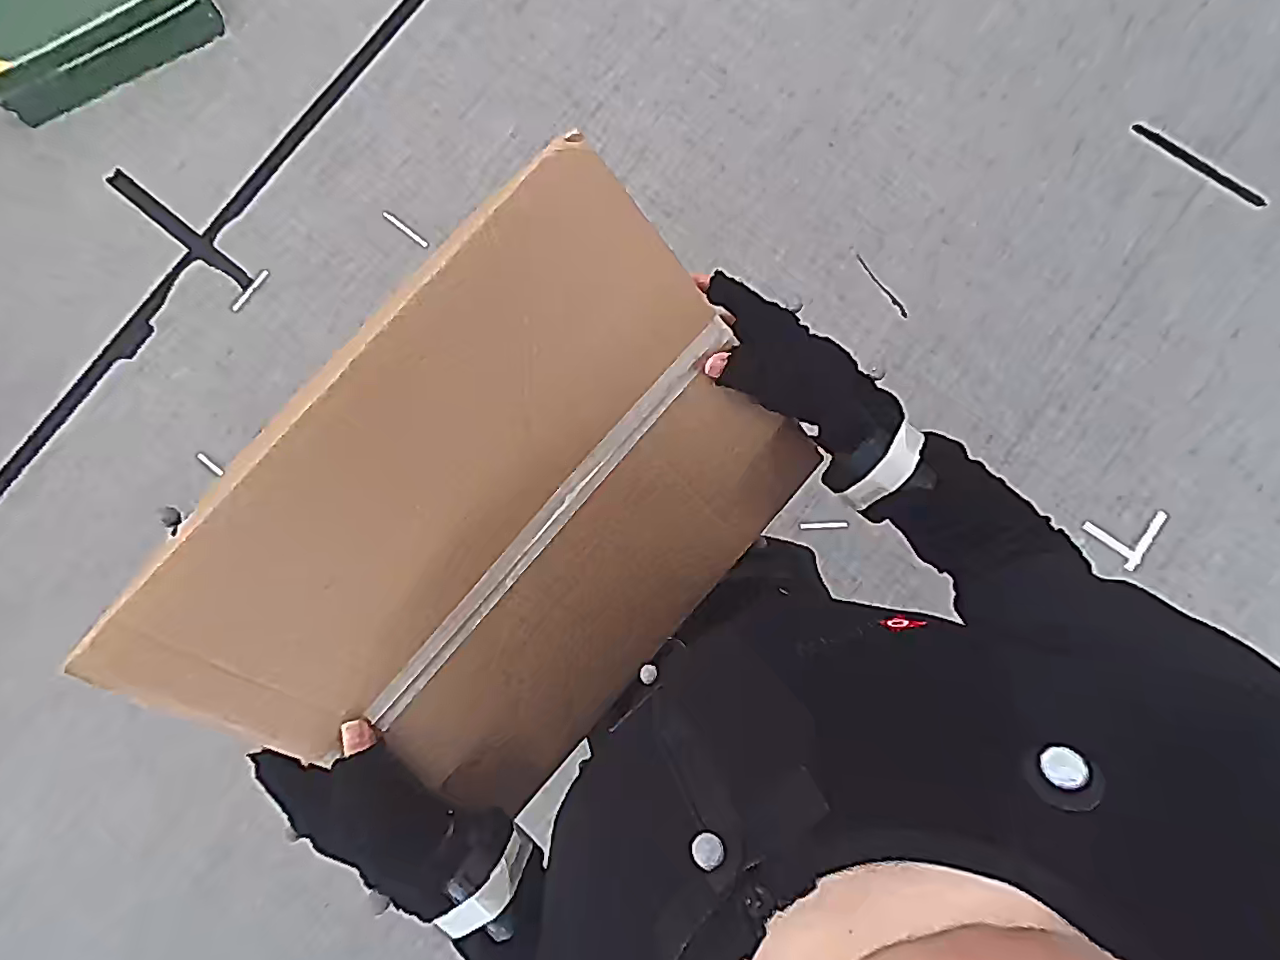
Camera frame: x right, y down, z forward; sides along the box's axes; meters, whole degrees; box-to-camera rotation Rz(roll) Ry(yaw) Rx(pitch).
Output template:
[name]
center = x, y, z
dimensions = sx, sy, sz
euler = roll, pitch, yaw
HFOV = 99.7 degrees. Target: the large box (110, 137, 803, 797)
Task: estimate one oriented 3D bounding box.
[large box]
center = -0.140, -0.012, 0.517
dimensions = 0.408, 0.320, 0.320
euler = -48, 121, -3
